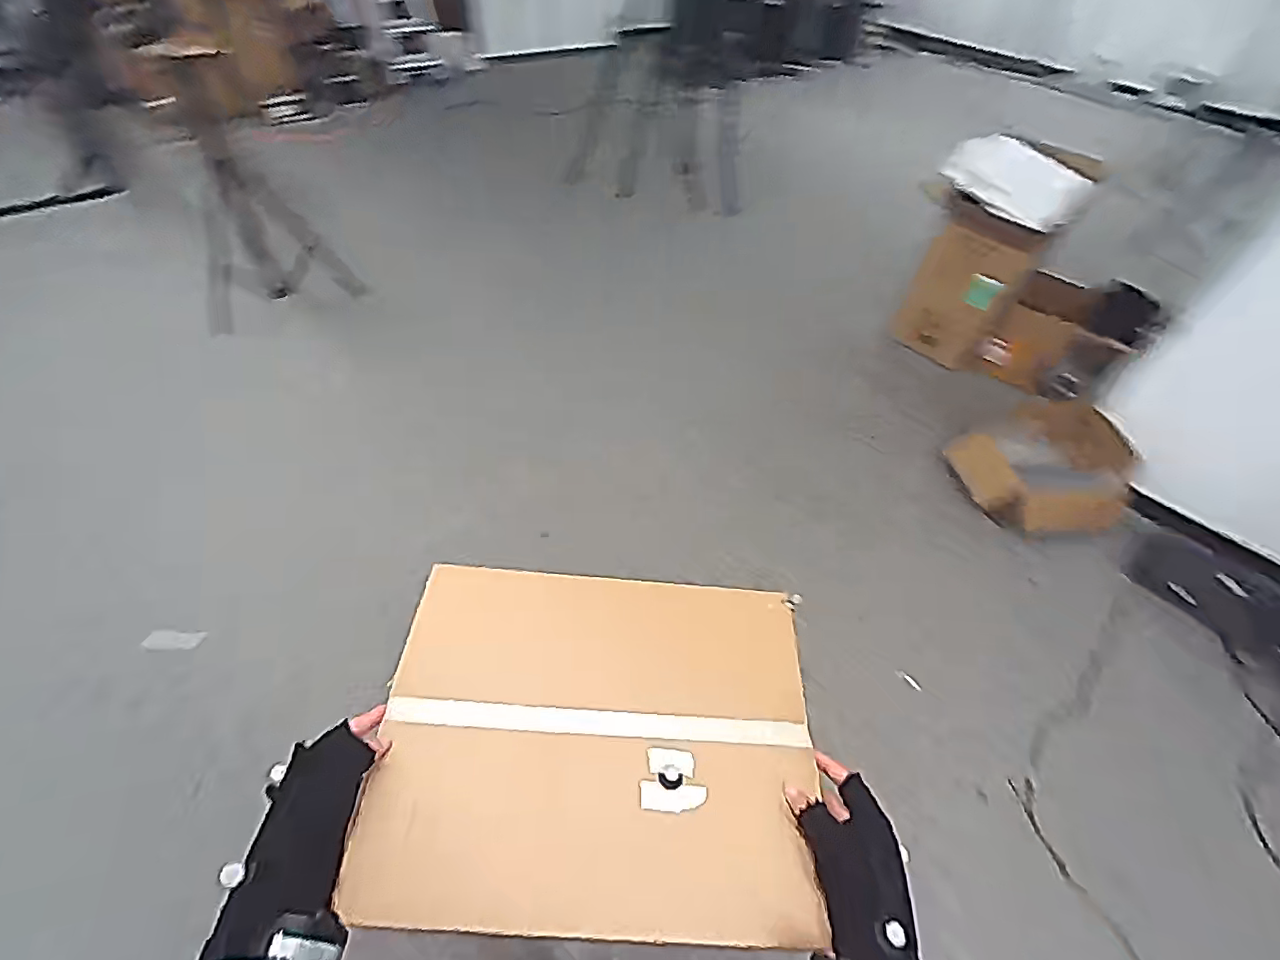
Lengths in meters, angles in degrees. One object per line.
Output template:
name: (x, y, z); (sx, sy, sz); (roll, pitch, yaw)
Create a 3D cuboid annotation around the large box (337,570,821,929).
large box: (-0.057, 0.330, 0.645); (0.408, 0.320, 0.320); (5, 51, -3)
